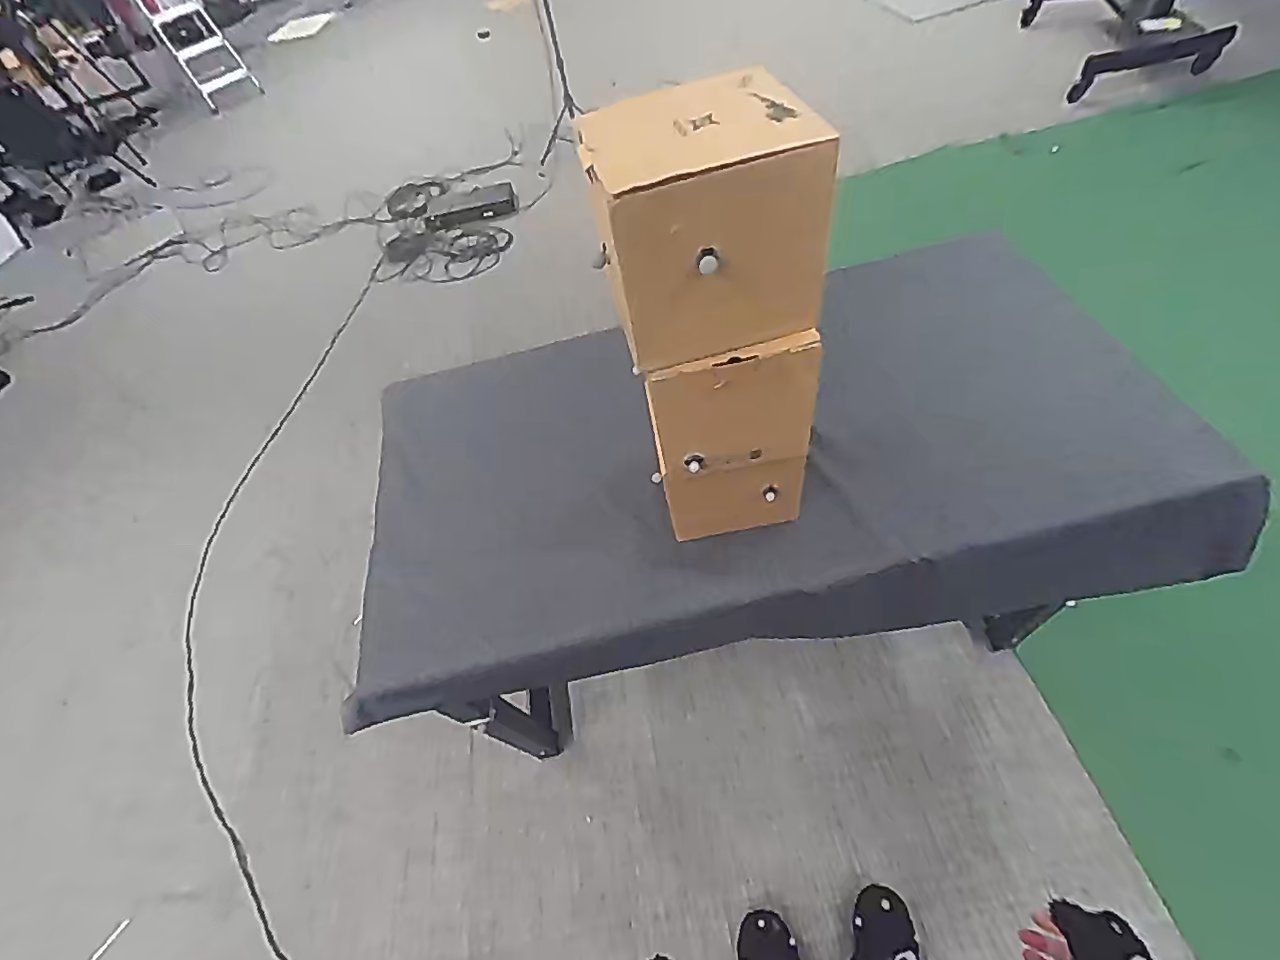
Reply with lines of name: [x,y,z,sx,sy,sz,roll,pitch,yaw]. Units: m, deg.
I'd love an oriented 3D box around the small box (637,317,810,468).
small box: [0.083,-0.132,0.626,0.168,0.176,0.179,-14,54,1]

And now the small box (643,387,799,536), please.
small box: [0.111,-0.042,0.761,0.179,0.176,0.168,-12,53,4]

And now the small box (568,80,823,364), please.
small box: [0.048,-0.234,0.506,0.179,0.176,0.168,-17,51,-3]
